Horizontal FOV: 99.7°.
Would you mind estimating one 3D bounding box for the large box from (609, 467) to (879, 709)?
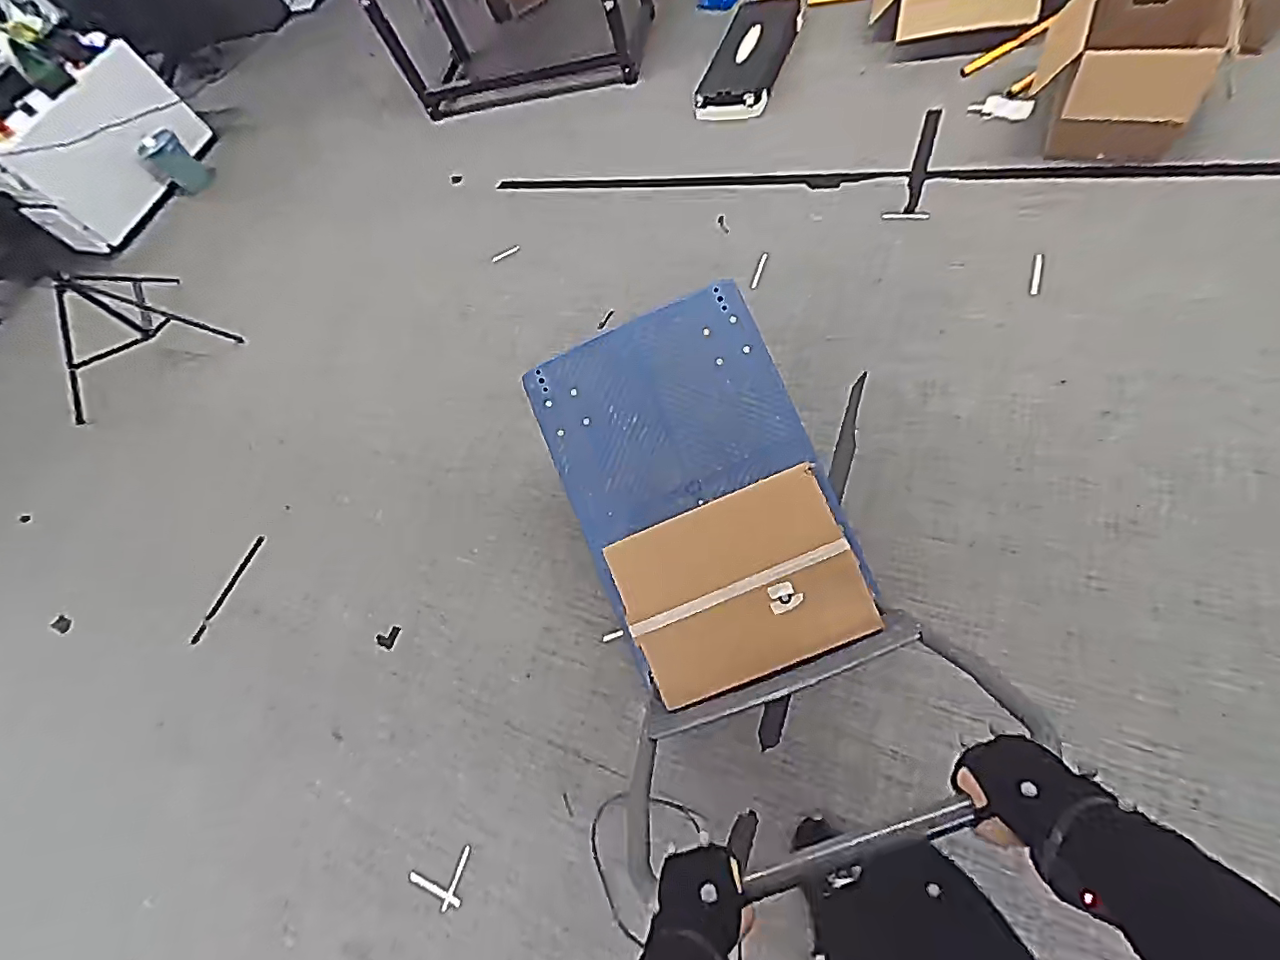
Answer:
[{"bbox_3d":[0.195,0.209,1.121,0.408,0.320,0.320,-24,83,4],"label":"large box"}]
